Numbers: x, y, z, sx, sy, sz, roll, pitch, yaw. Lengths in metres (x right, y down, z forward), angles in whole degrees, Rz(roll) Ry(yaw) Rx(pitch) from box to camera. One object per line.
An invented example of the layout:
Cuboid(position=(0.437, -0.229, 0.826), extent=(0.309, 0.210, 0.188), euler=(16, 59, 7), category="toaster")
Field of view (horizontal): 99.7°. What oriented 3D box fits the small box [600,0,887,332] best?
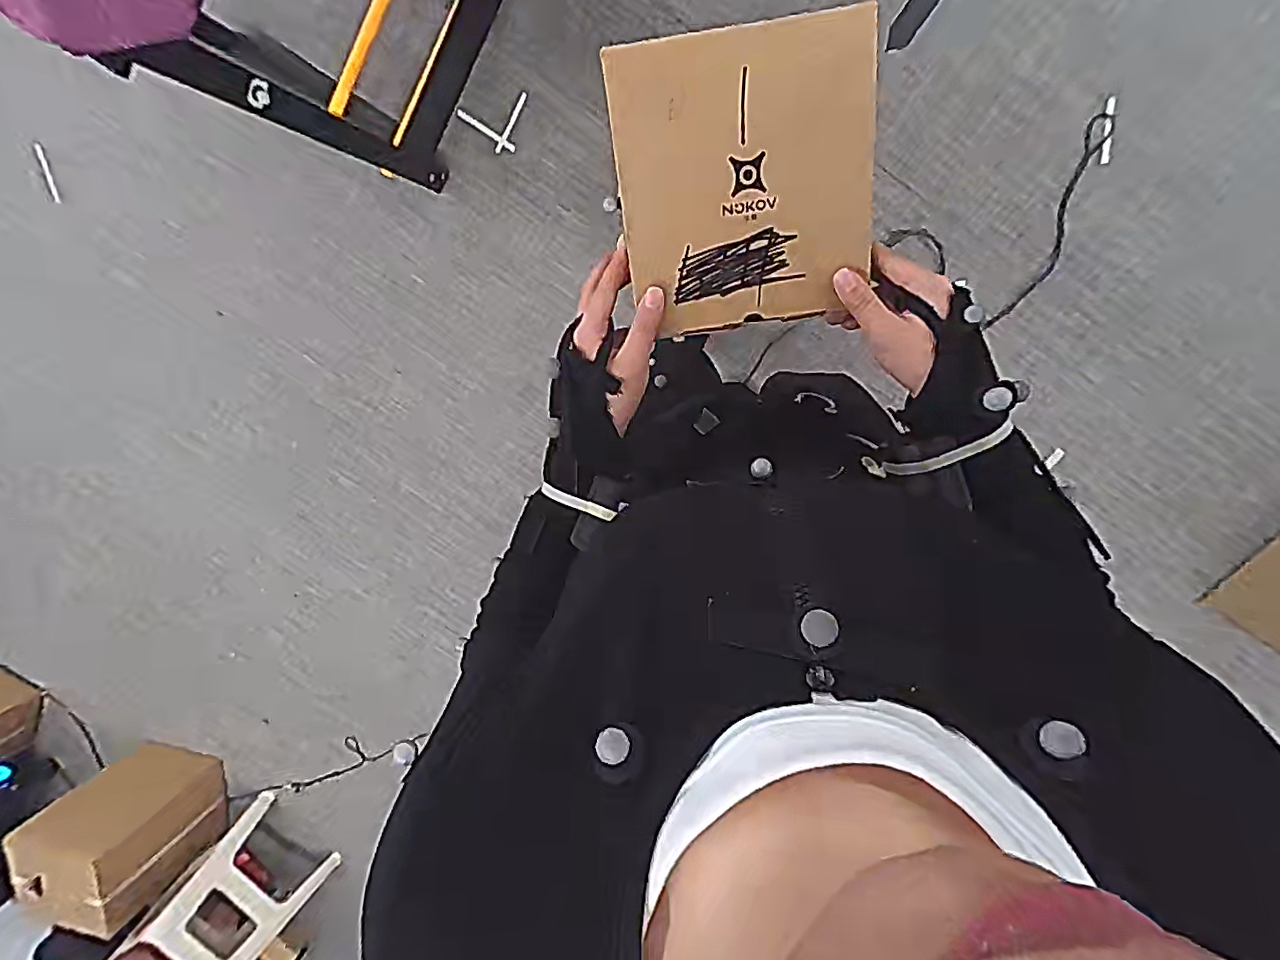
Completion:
Cuboid(position=(0.067, -0.223, 0.413), extent=(0.168, 0.176, 0.179), euler=(-7, 113, 2), category="small box")
